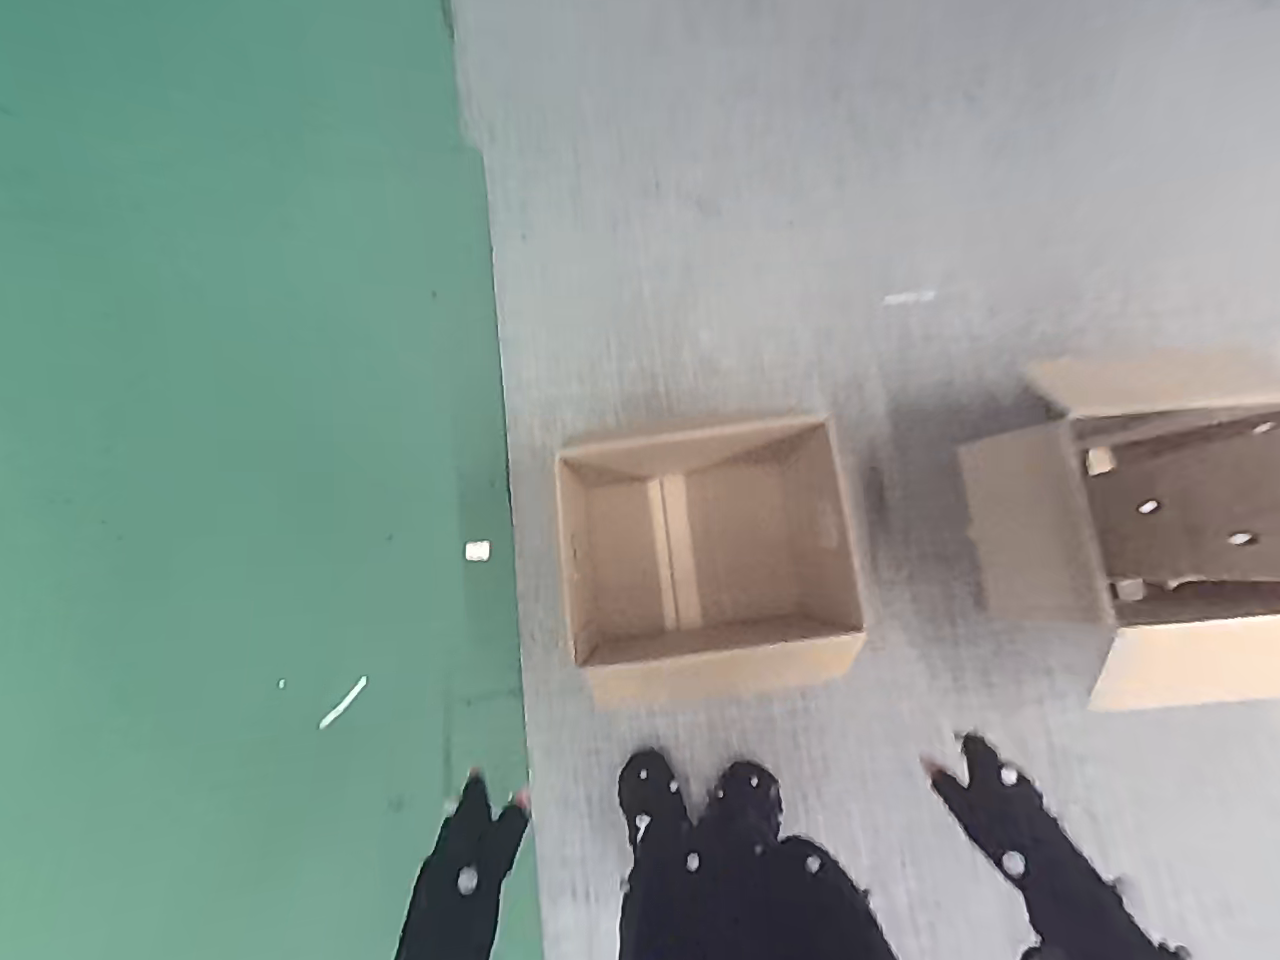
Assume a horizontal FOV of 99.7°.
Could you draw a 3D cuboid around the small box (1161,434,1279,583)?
[{"bbox_3d":[0.790,0.037,0.652,0.179,0.176,0.168,-5,80,2],"label":"small box"}]
